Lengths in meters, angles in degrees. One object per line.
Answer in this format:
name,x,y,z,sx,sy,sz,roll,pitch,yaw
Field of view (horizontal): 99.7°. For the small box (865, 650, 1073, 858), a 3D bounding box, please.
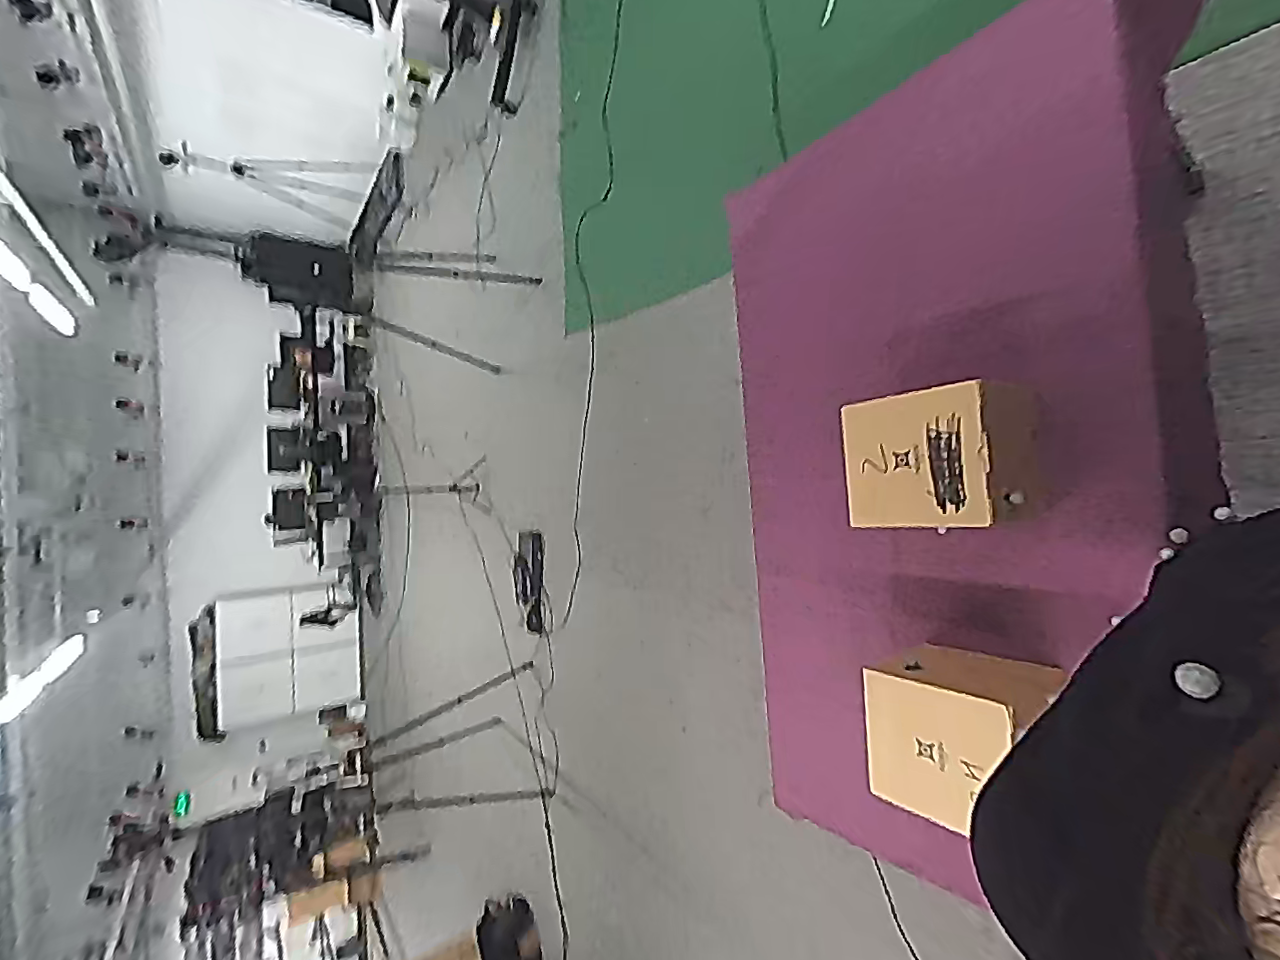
small box,0.416,0.327,0.692,0.179,0.176,0.168,-5,87,53
